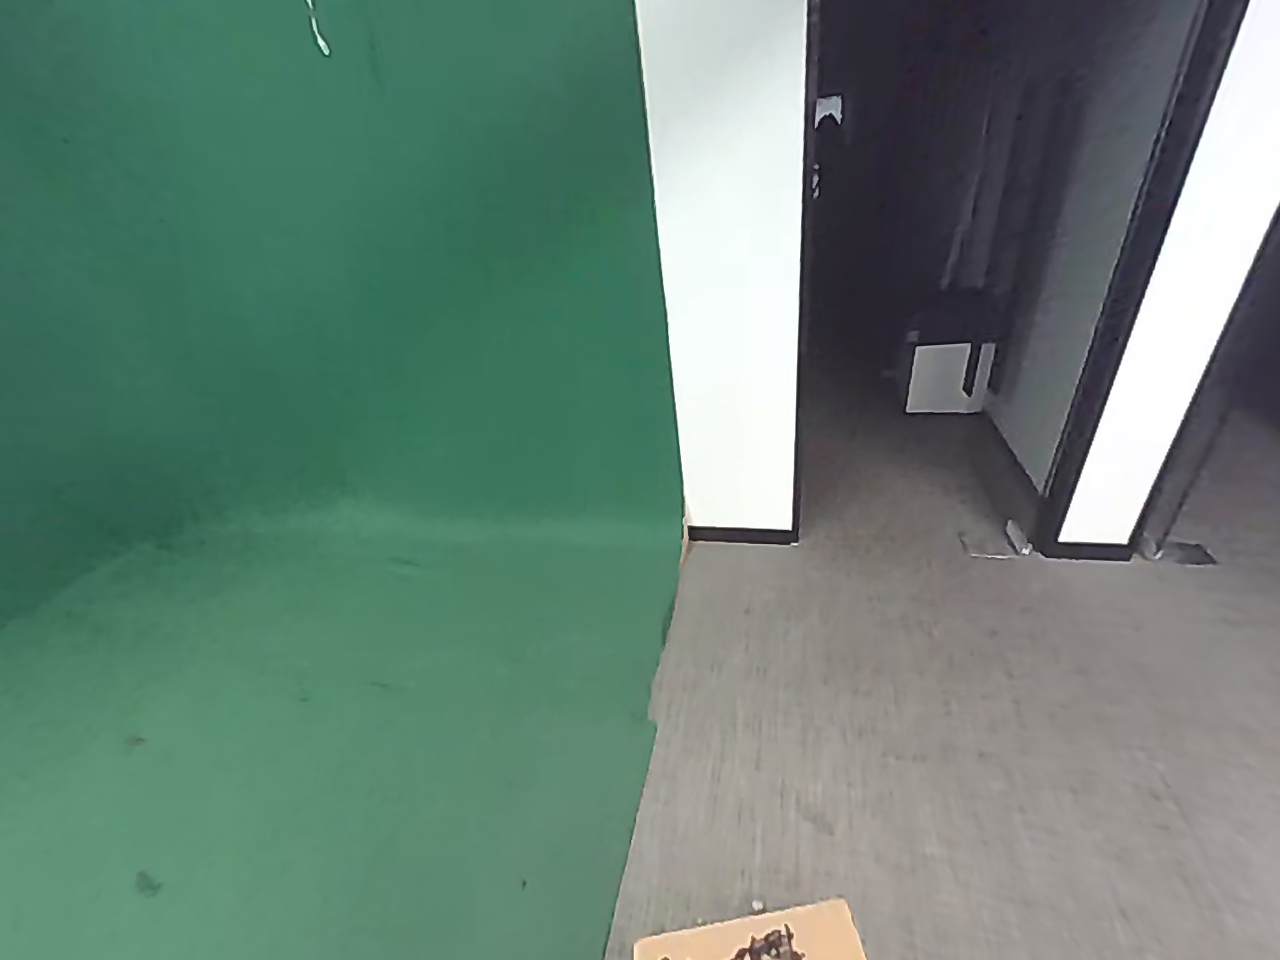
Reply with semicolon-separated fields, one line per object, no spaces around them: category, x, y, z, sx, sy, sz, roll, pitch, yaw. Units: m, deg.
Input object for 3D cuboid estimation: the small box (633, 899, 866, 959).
small box;0.094;0.442;0.393;0.168;0.176;0.179;-10;41;-2
